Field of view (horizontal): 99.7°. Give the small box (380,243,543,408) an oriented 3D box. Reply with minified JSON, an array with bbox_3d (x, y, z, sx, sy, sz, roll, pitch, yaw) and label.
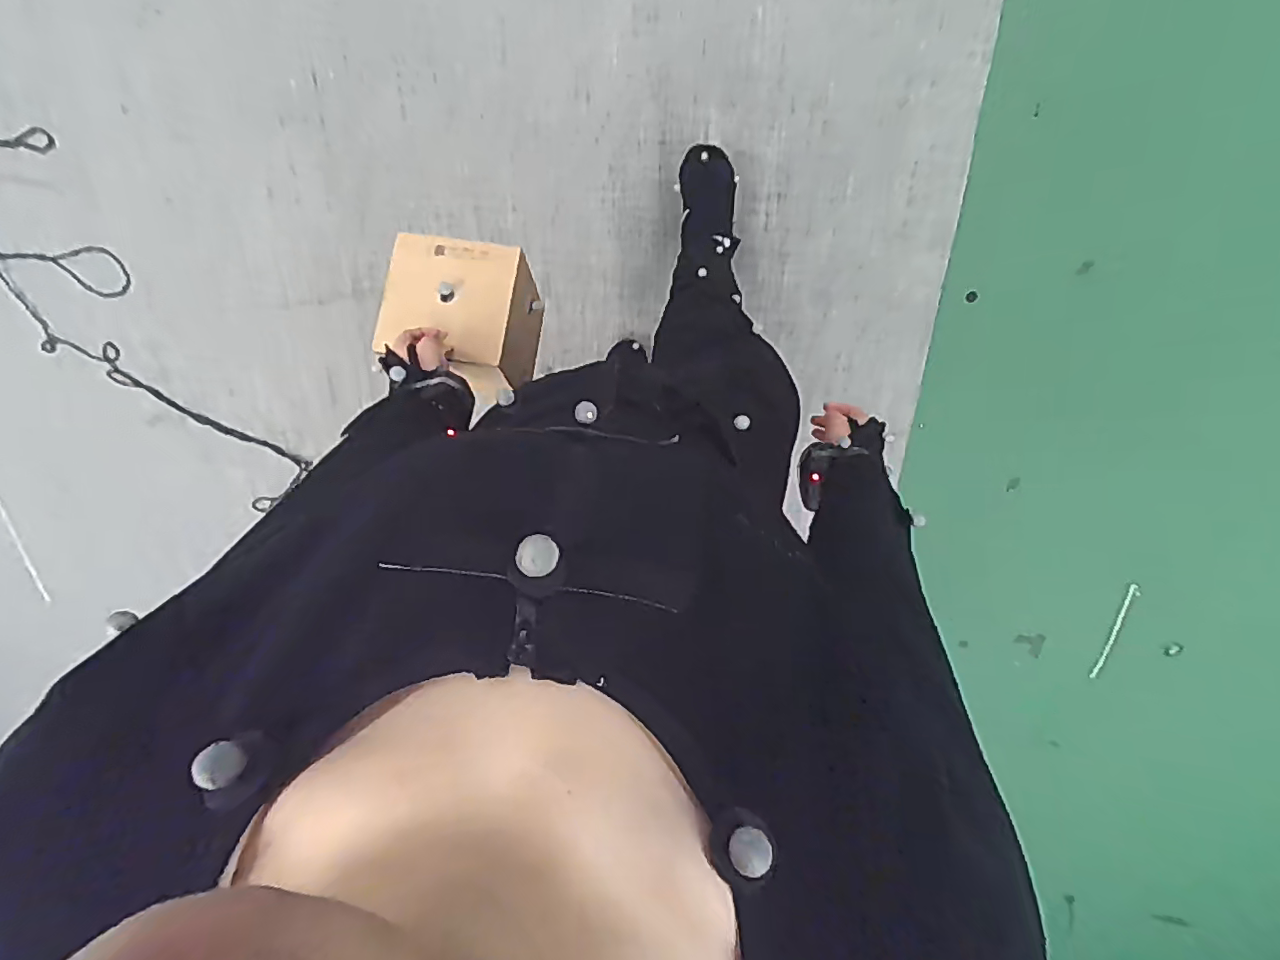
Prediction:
[{"bbox_3d":[-0.242,-0.215,0.774,0.168,0.179,0.176,6,80,2],"label":"small box"}]
